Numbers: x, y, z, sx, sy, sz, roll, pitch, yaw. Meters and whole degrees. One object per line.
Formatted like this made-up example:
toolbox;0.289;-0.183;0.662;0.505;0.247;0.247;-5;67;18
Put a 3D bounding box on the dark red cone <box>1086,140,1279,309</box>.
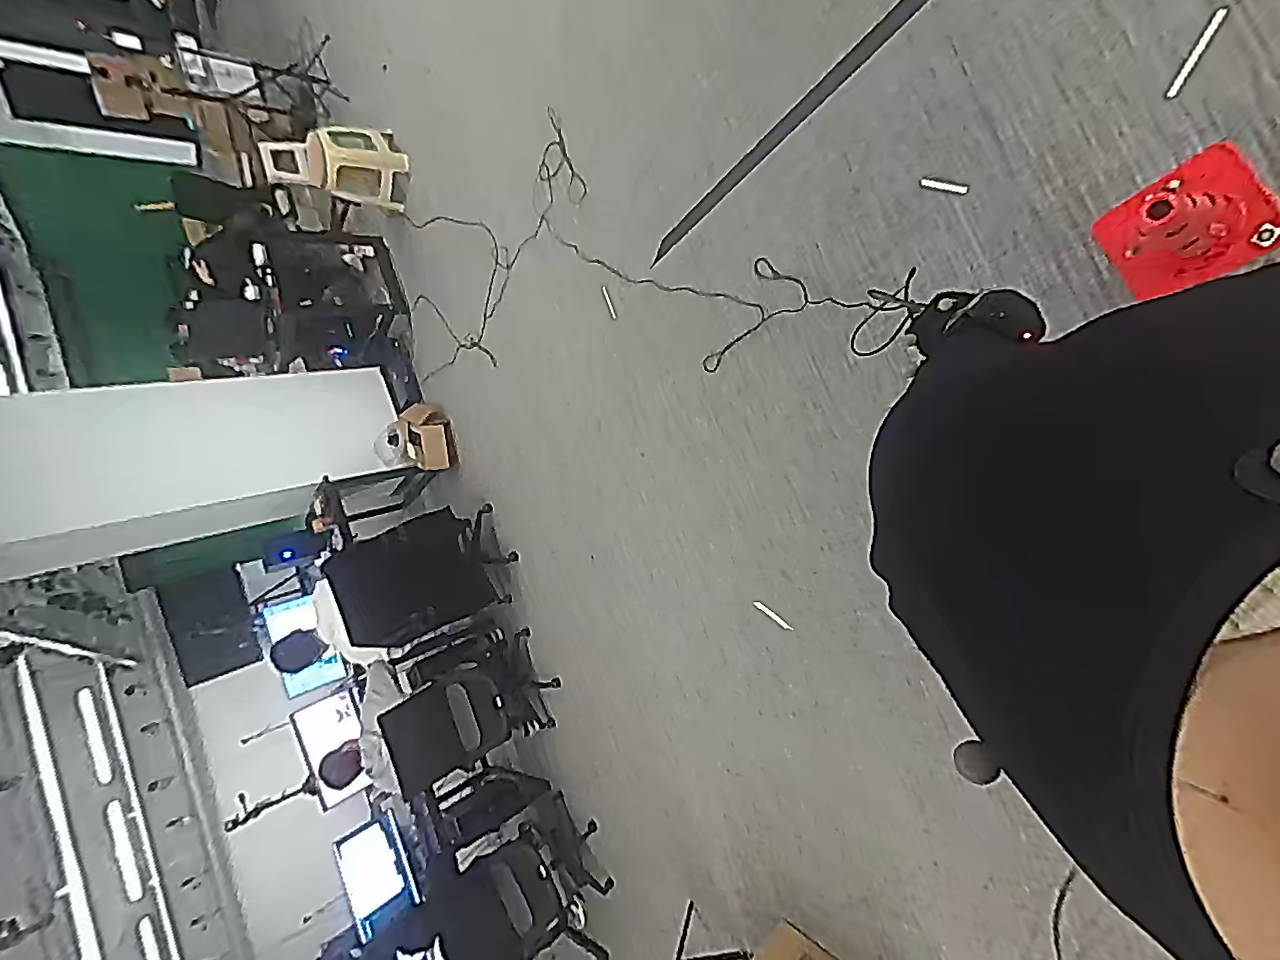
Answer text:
dark red cone;0.789;-0.389;0.810;0.202;0.394;0.201;-38;72;49
